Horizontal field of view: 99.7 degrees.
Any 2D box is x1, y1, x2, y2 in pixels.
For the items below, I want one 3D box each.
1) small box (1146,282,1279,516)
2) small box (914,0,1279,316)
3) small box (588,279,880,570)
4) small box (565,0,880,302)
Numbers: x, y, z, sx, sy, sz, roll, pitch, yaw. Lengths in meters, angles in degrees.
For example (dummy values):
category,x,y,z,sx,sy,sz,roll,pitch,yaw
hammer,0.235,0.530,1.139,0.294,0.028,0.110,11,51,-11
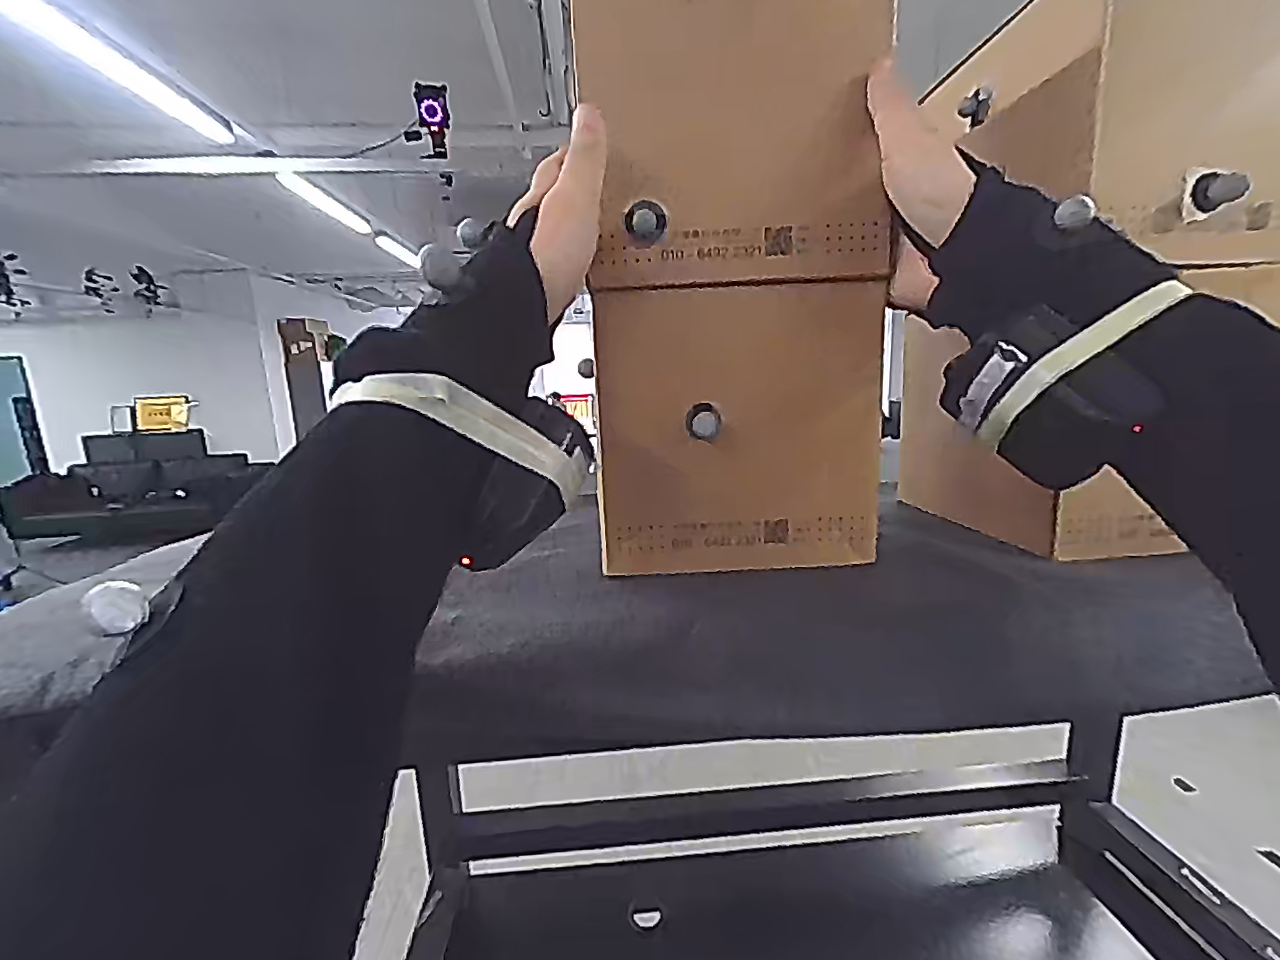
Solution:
category,x,y,z,sx,sy,sz,roll,pitch,yaw
small box,0.537,-0.061,0.403,0.168,0.176,0.179,-4,10,-3
small box,0.311,-0.211,0.373,0.168,0.176,0.179,-4,10,-5
small box,0.055,-0.038,0.391,0.168,0.176,0.179,-3,9,-2
small box,0.046,-0.199,0.360,0.168,0.176,0.179,-3,8,-2
